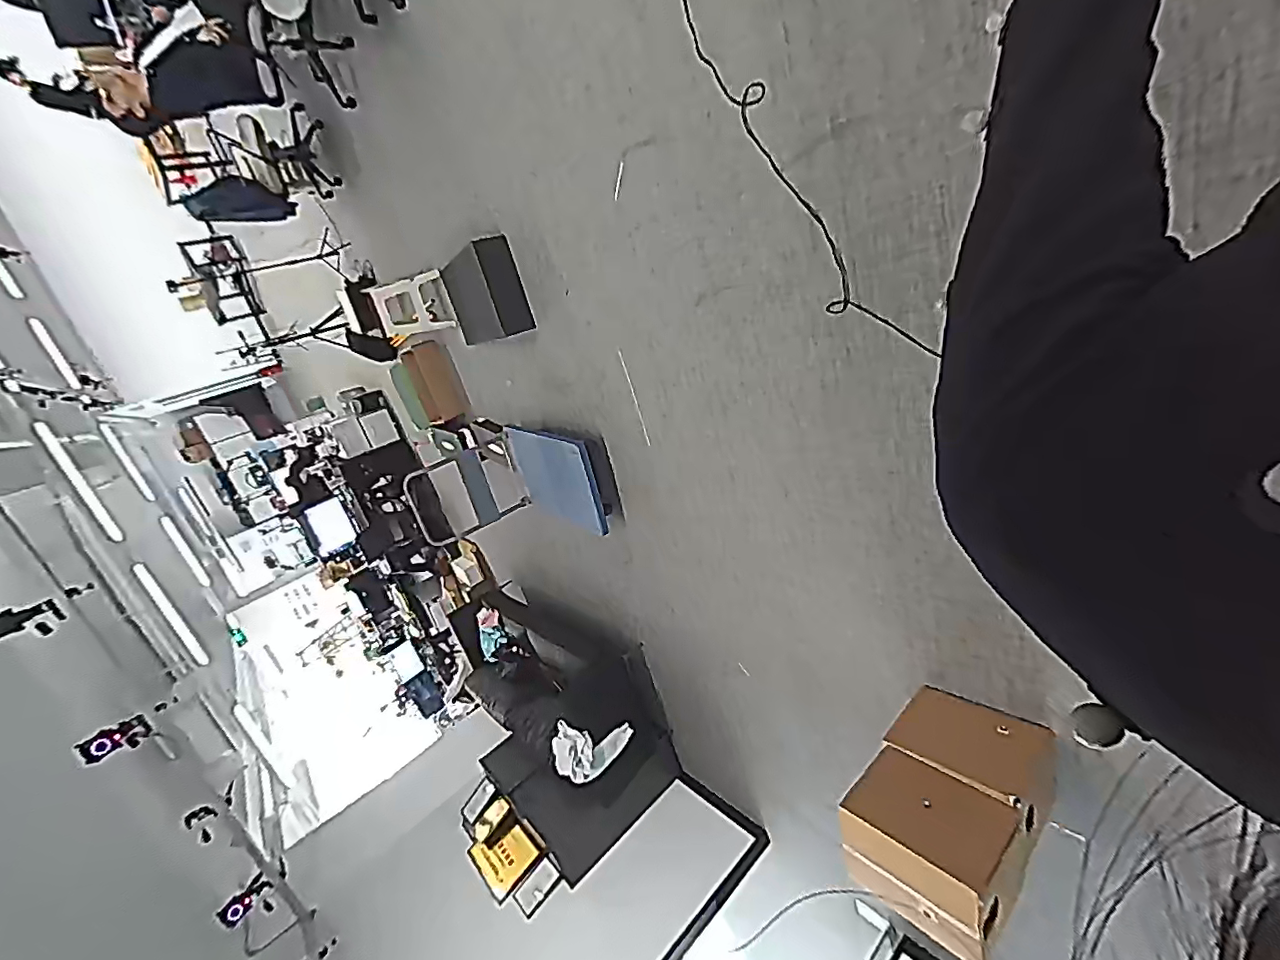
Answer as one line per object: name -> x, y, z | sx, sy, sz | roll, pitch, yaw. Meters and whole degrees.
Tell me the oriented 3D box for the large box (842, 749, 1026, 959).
large box -> 0.887, 1.110, 1.639 | 0.408, 0.320, 0.320 | 9, 117, 51
